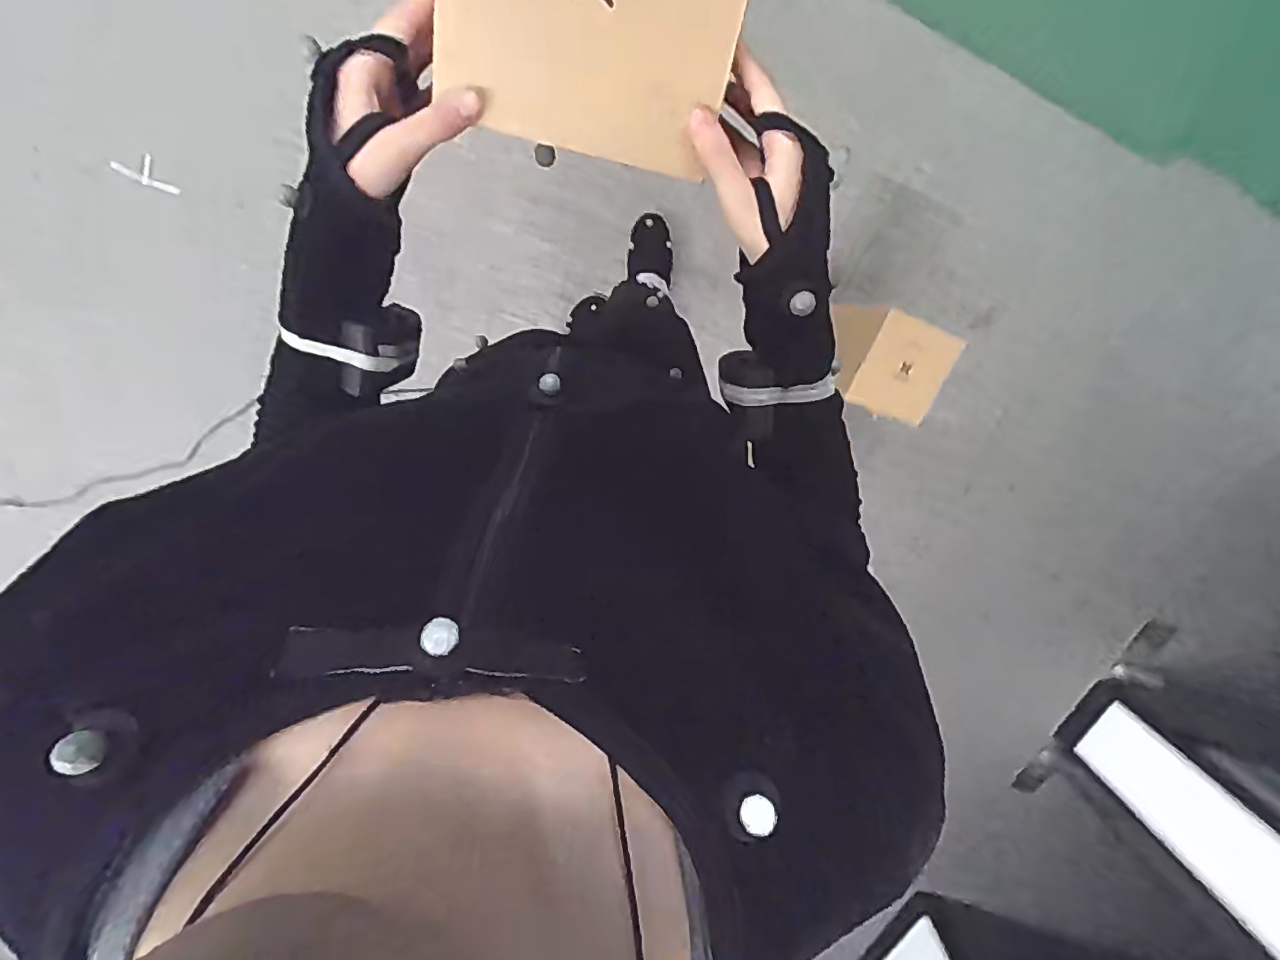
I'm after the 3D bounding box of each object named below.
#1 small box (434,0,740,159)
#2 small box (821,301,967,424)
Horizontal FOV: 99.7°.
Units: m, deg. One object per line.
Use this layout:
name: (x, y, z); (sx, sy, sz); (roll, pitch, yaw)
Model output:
small box: (-0.025, -0.326, 0.346); (0.168, 0.176, 0.179); (8, 122, -9)
small box: (0.480, -0.236, 1.059); (0.168, 0.176, 0.179); (20, 107, -11)
